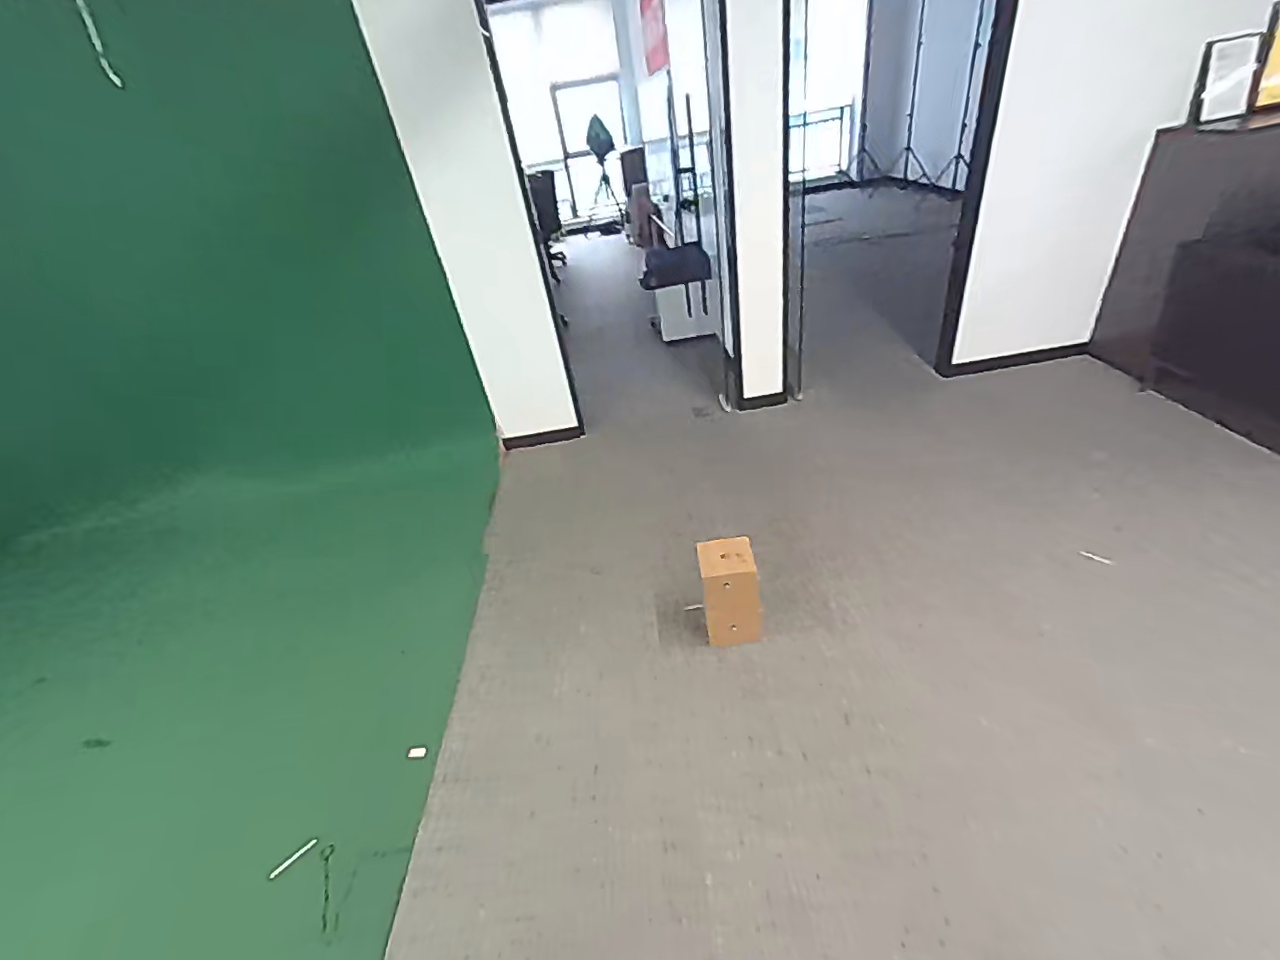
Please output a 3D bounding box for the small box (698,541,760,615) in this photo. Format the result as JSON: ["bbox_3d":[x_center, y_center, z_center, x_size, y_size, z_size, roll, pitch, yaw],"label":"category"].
[{"bbox_3d":[0.291,0.326,1.771,0.179,0.176,0.168,-8,34,5],"label":"small box"}]
